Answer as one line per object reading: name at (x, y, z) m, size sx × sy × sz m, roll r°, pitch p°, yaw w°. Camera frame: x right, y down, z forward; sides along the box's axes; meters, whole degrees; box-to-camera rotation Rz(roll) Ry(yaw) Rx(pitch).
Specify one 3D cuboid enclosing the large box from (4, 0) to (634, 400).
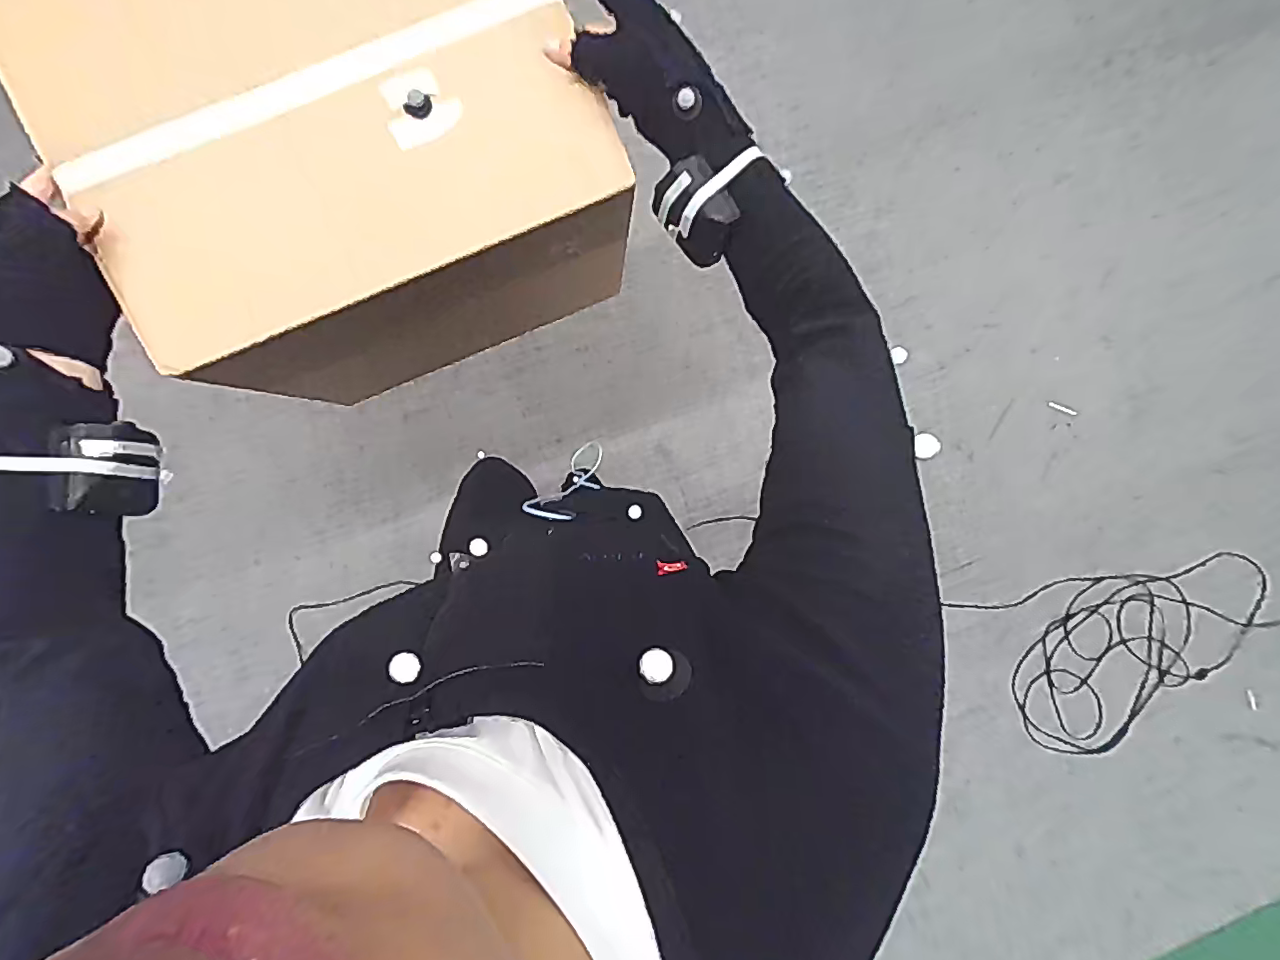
large box at (-0.257, -0.317, 0.577) m, size 0.408 × 0.320 × 0.320 m, roll -24°, pitch 95°, yaw -4°
